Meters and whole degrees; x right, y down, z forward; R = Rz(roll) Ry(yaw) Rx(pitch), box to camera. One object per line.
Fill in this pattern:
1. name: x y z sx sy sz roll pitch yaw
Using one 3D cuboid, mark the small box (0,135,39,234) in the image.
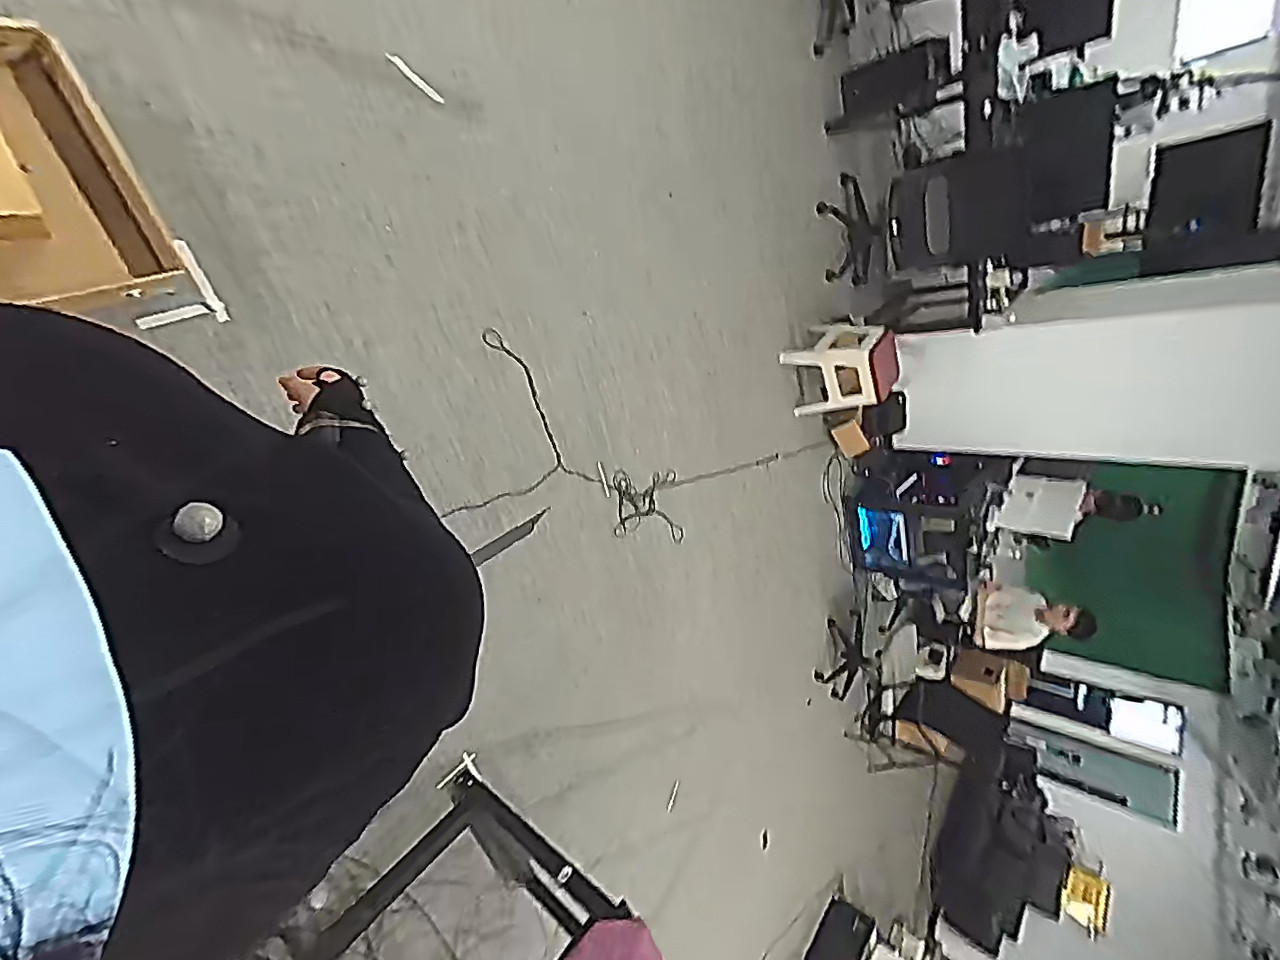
1. small box: -1.093 -0.491 0.839 0.168 0.176 0.179 -29 116 -40
